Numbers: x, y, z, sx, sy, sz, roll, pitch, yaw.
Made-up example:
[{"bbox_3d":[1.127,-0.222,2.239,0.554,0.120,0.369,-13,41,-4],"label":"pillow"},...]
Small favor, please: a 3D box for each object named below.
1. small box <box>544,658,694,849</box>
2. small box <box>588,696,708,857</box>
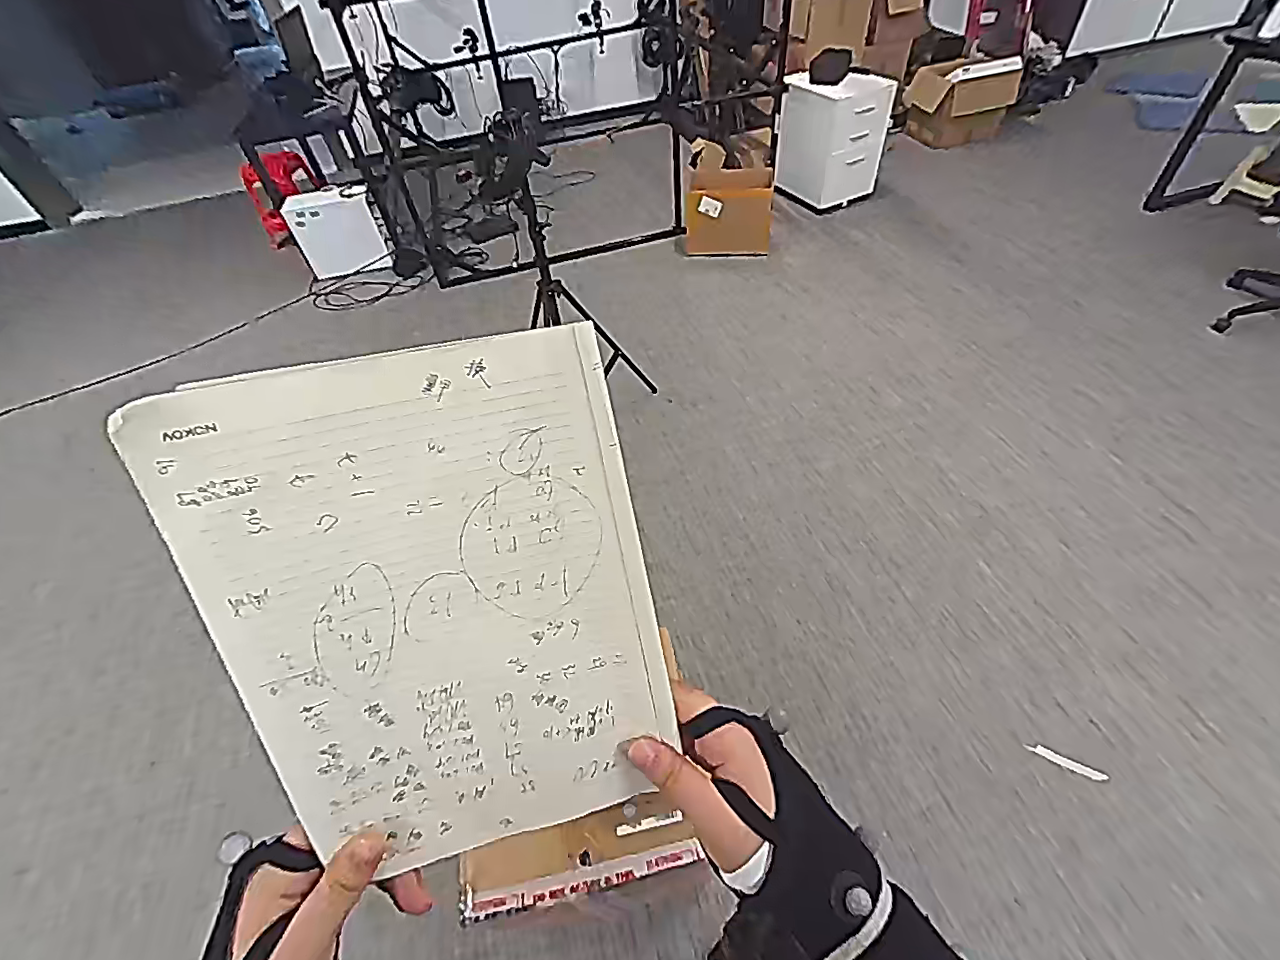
[{"bbox_3d":[-0.030,0.361,0.713,0.168,0.176,0.179,-9,51,-5],"label":"small box"},{"bbox_3d":[-0.005,0.462,0.842,0.179,0.176,0.168,-12,50,-7],"label":"small box"}]
